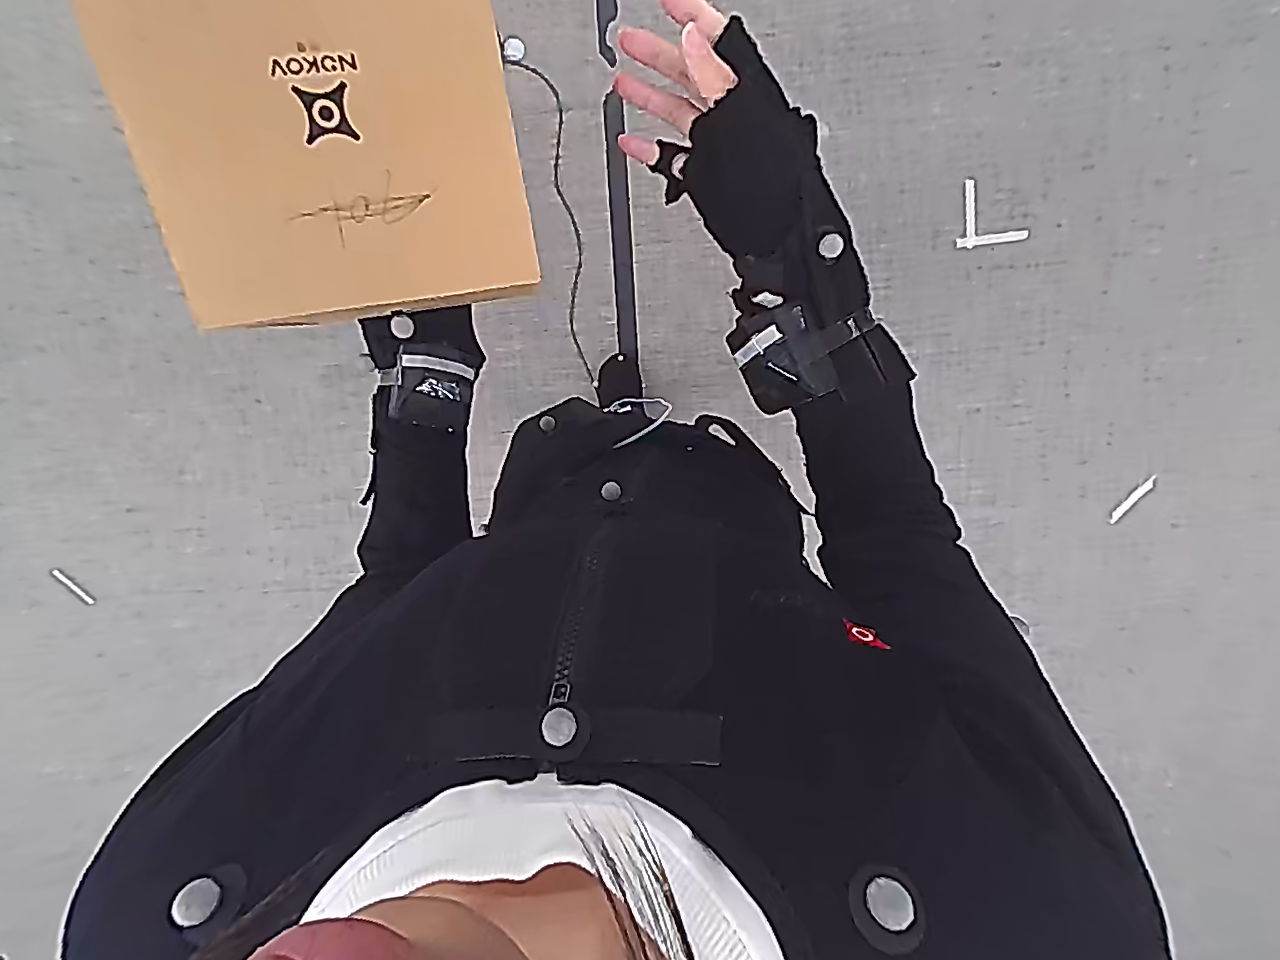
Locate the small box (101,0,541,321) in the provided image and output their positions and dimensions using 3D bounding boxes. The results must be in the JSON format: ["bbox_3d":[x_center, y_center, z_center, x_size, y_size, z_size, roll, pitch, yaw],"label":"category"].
[{"bbox_3d":[-0.160,-0.197,0.331,0.168,0.176,0.179,-11,108,-8],"label":"small box"}]
